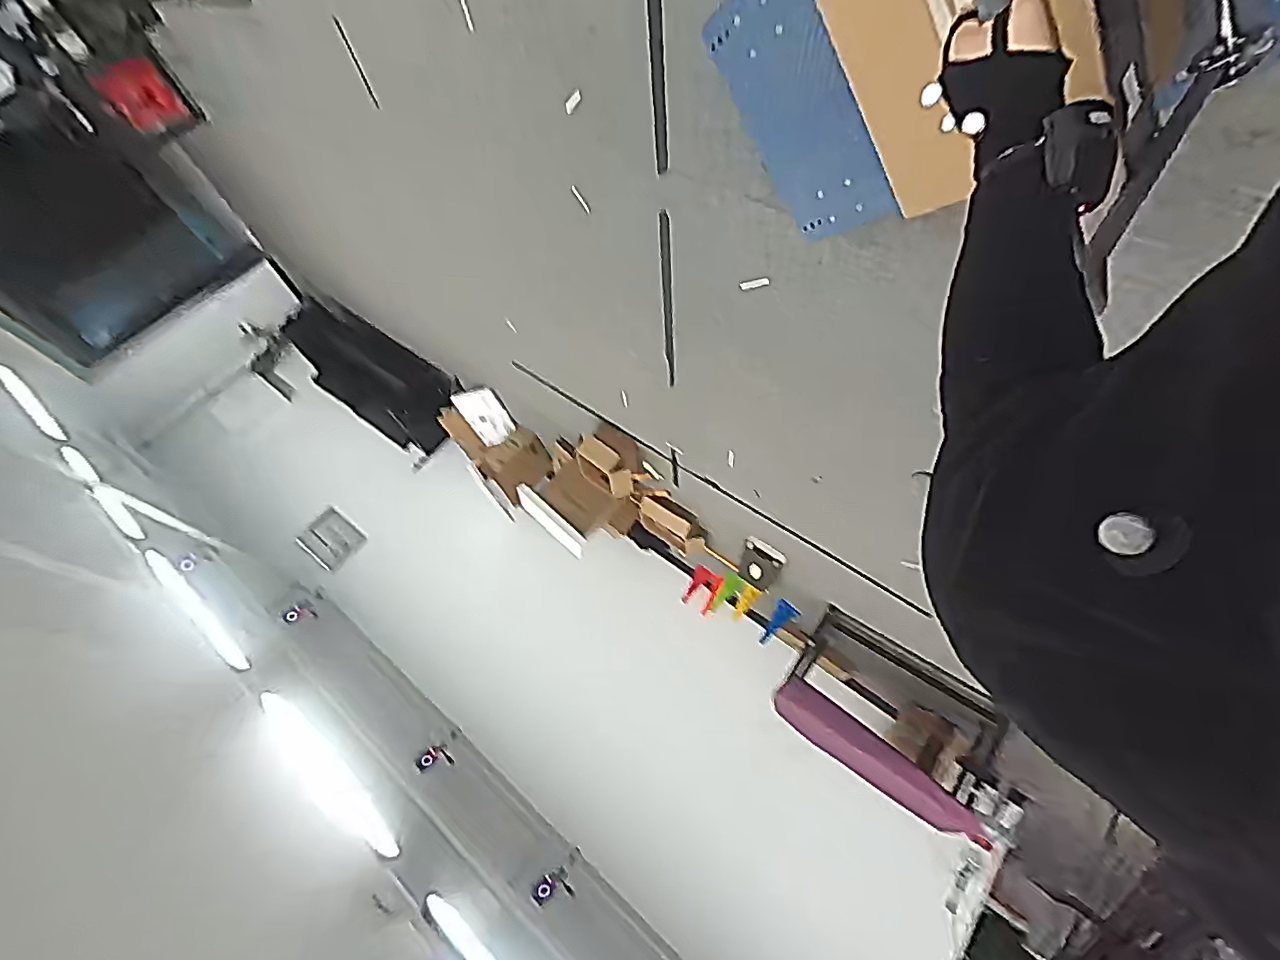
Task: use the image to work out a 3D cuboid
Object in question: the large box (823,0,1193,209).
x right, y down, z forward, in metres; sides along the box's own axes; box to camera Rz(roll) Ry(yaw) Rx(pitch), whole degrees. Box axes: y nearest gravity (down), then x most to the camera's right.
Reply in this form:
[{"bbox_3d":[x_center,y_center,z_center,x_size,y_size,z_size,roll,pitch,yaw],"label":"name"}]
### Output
[{"bbox_3d":[0.542,-0.713,0.806,0.408,0.320,0.320,51,158,-25],"label":"large box"}]
